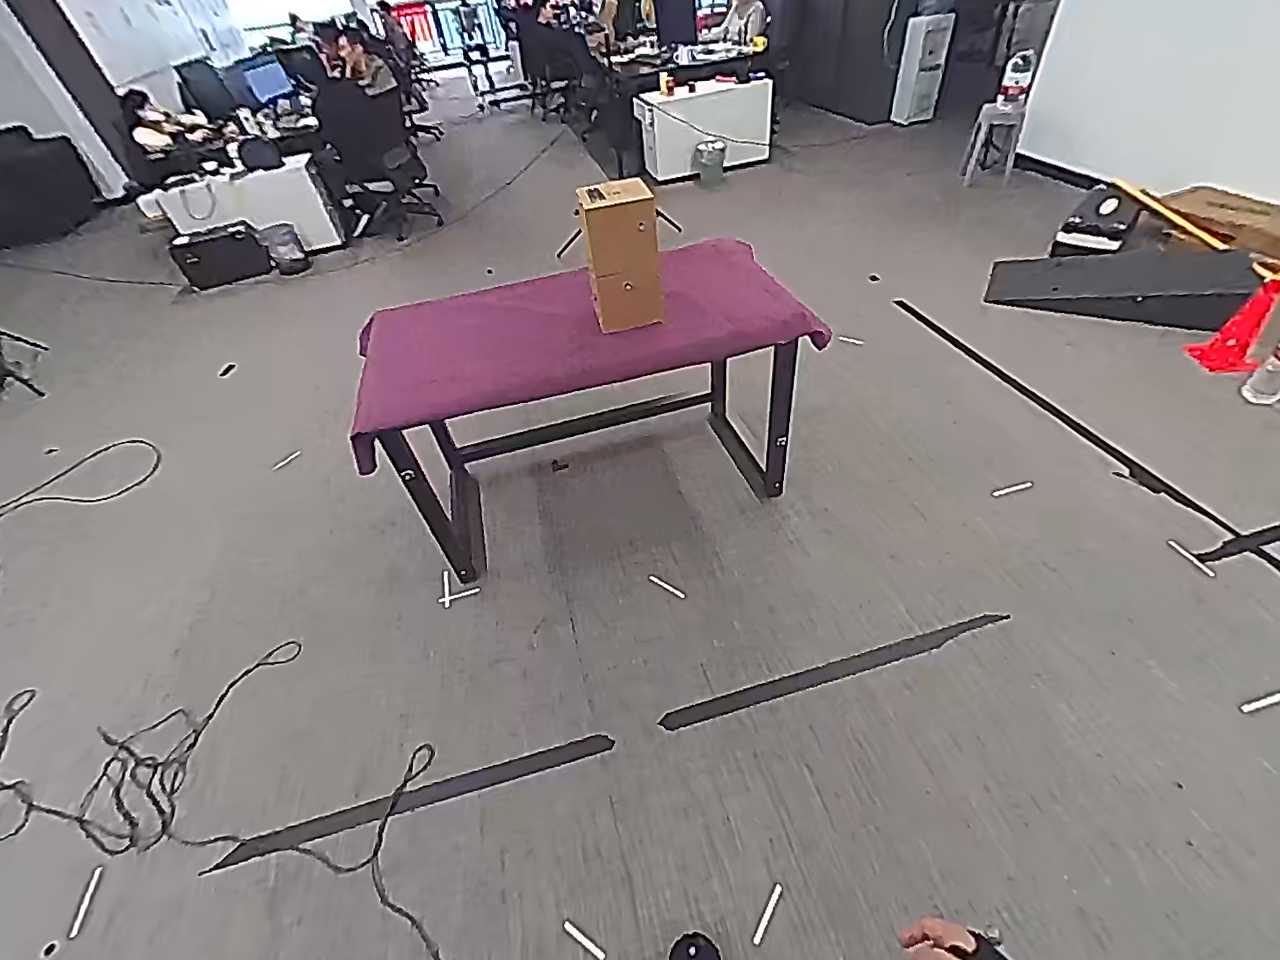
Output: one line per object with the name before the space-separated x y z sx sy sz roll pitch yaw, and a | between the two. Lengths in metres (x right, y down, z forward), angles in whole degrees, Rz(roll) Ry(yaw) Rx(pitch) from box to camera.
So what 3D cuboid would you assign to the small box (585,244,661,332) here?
small box | -0.045 -0.536 1.516 0.179 0.176 0.168 -13 45 -6
